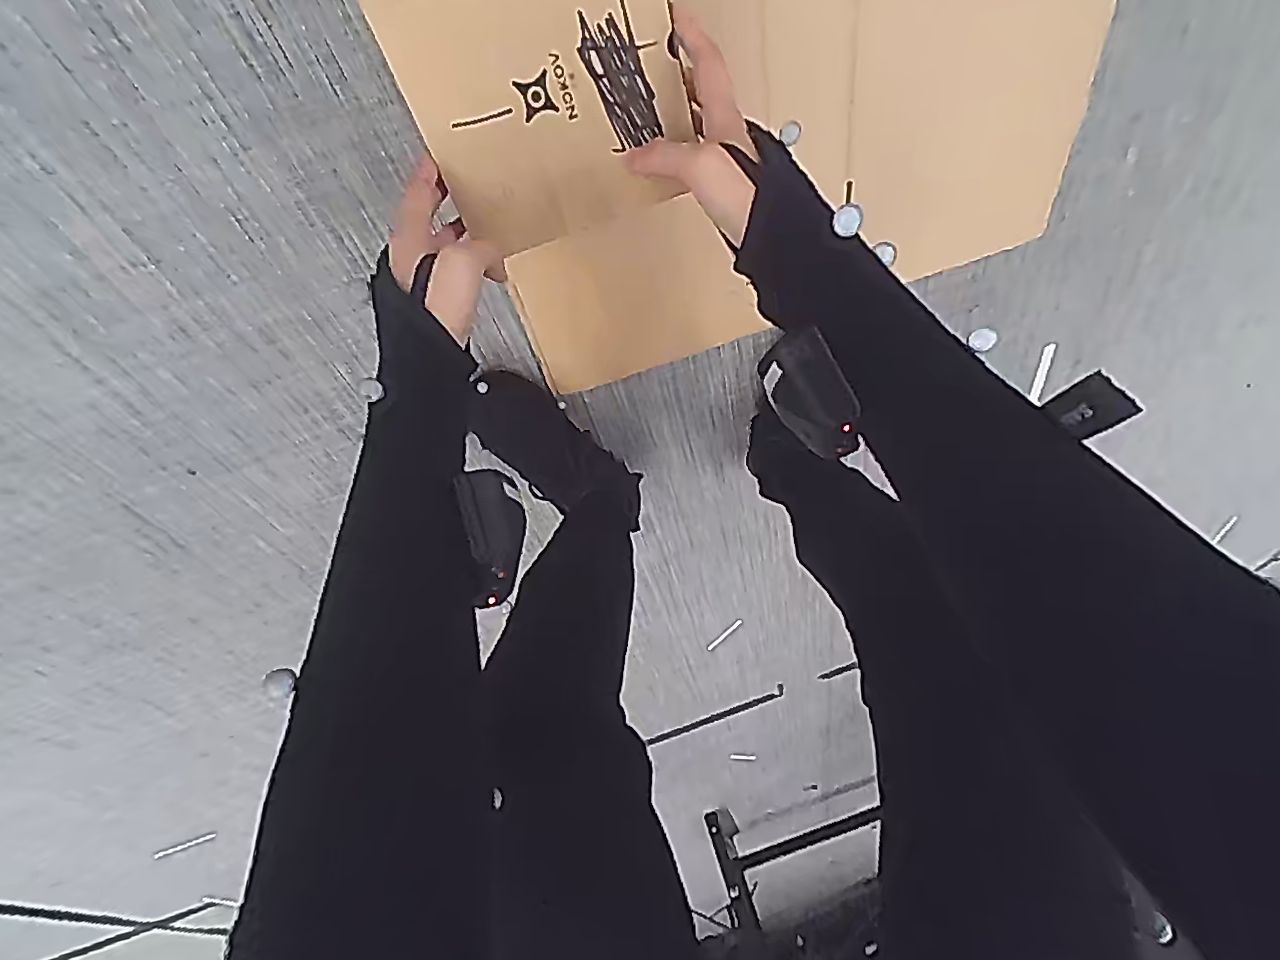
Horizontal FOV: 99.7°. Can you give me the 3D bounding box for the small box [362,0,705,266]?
[{"bbox_3d":[-0.066,-0.293,0.410,0.179,0.176,0.168,-17,128,5],"label":"small box"}]
